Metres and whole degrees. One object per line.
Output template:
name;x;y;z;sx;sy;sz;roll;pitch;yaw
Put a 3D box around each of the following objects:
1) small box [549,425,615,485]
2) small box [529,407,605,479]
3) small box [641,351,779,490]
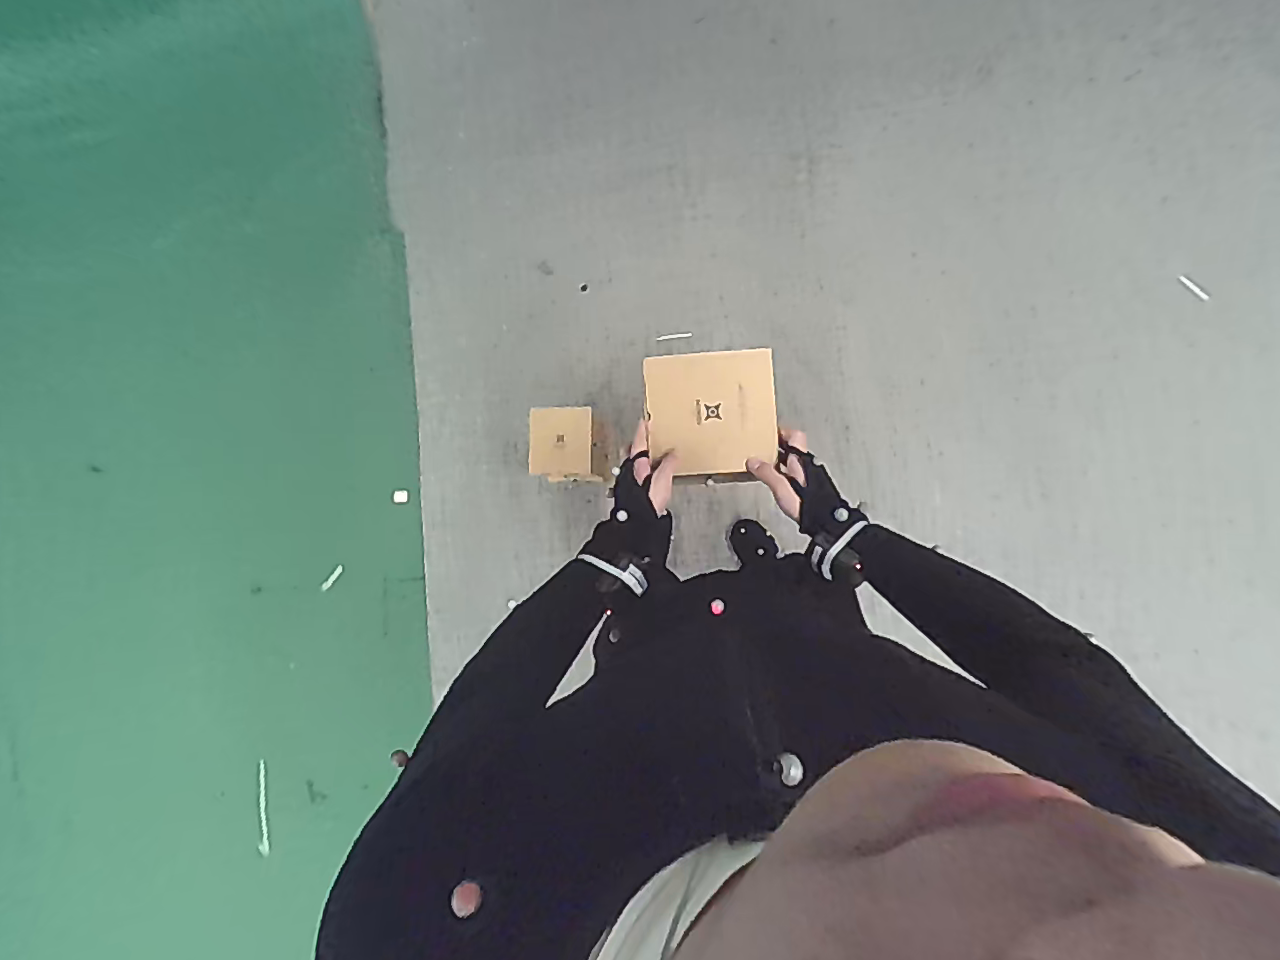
small box;-0.170;-0.075;1.638;0.168;0.176;0.179;1;87;8
small box;-0.192;-0.096;1.461;0.168;0.176;0.179;1;88;8
small box;0.099;-0.078;0.800;0.179;0.176;0.168;-4;84;4
